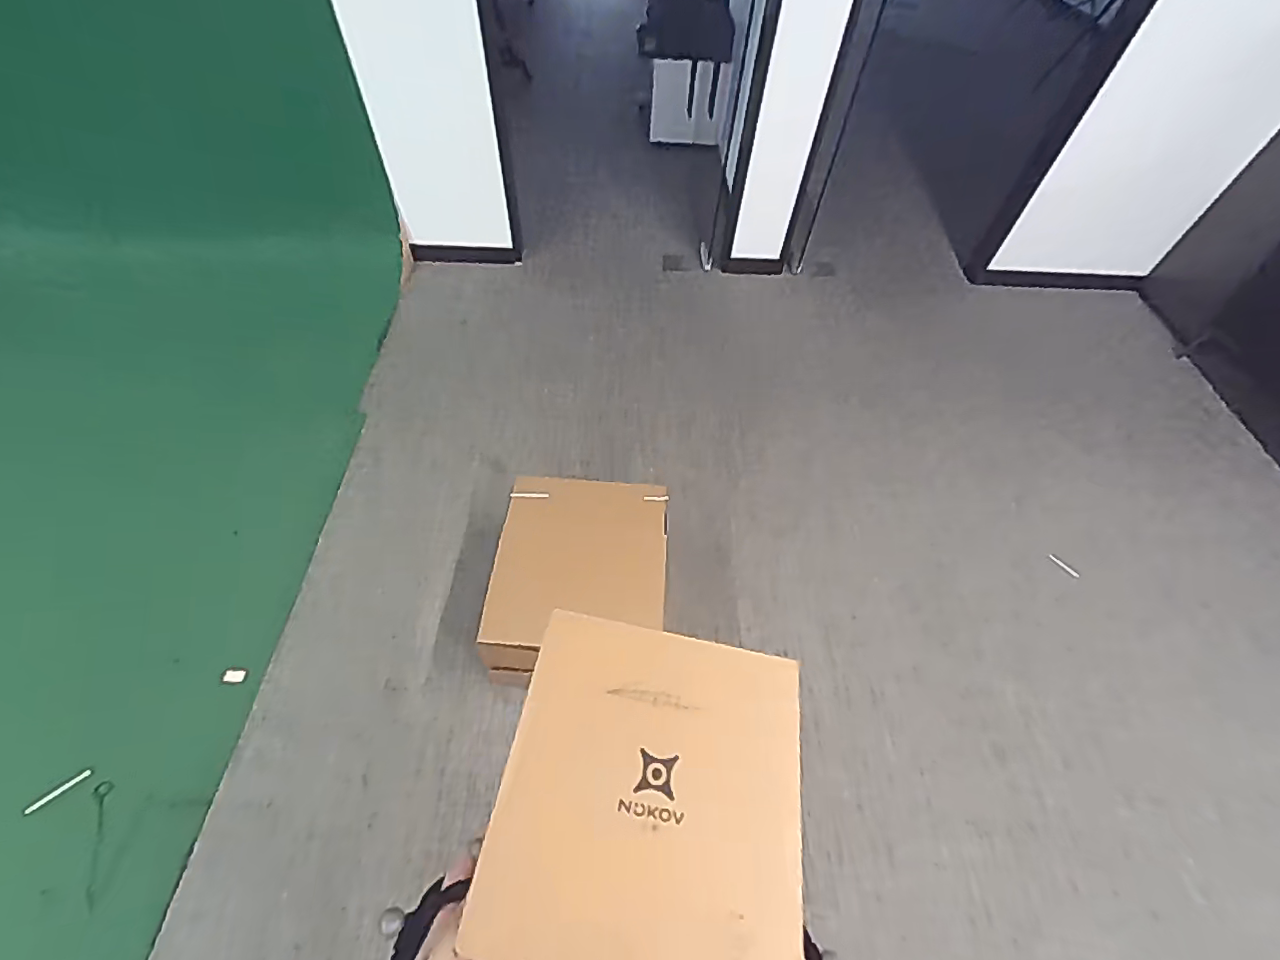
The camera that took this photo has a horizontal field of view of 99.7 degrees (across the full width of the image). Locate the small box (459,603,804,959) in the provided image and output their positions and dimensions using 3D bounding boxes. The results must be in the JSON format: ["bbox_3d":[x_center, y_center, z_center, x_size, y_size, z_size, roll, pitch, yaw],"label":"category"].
[{"bbox_3d":[0.000,0.212,0.362,0.168,0.176,0.179,13,51,0],"label":"small box"}]
